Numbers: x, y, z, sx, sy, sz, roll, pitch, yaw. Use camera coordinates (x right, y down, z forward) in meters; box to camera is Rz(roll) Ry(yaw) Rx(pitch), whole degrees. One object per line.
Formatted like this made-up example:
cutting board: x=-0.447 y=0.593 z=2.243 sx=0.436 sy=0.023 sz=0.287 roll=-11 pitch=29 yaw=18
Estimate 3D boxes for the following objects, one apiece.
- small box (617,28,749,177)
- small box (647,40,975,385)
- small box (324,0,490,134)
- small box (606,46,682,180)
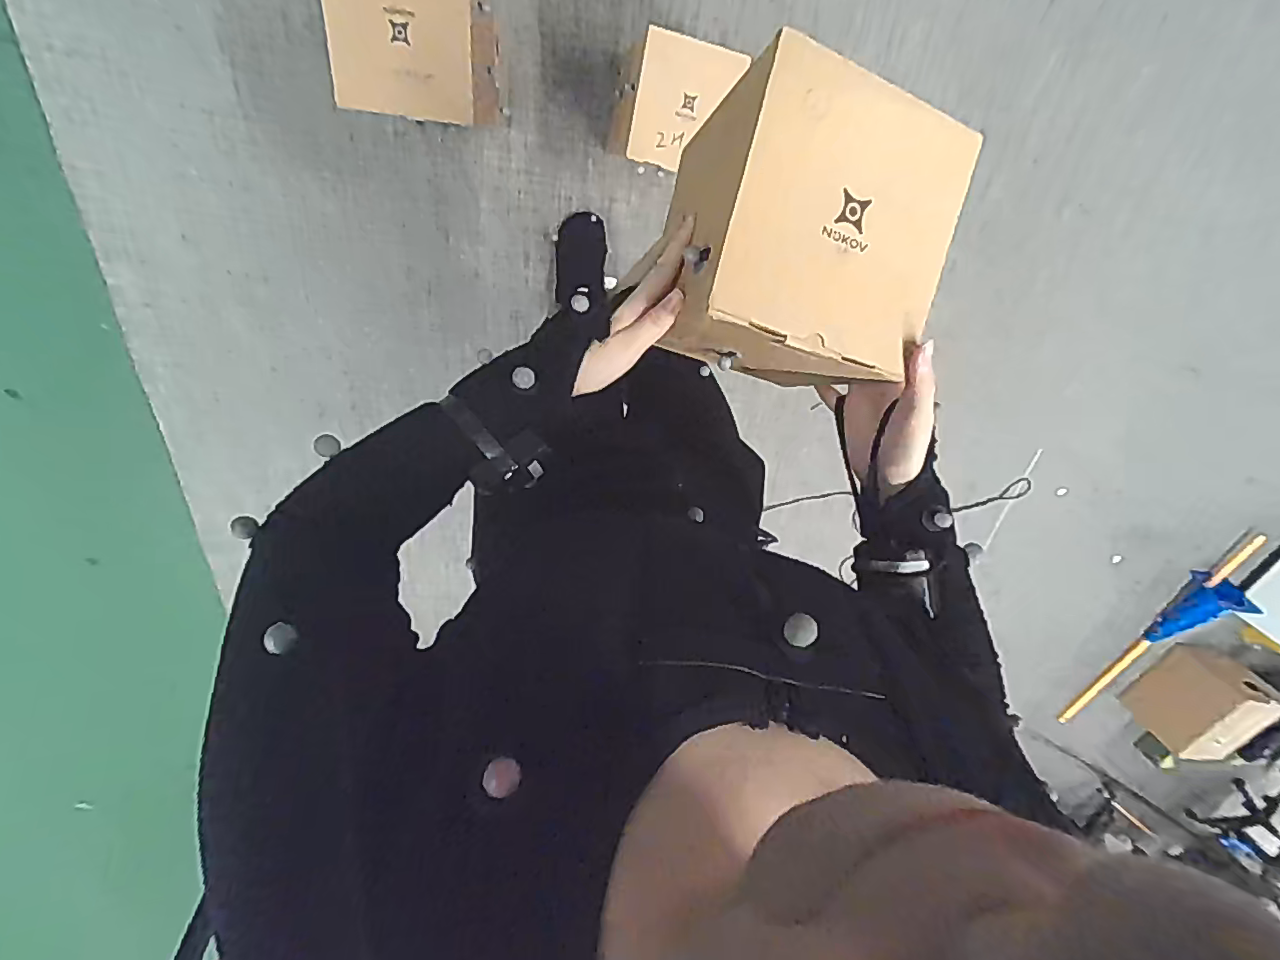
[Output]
small box: x=0.061 y=-0.622 z=0.918 sx=0.168 sy=0.176 sz=0.179 roll=7 pitch=121 yaw=-13
small box: x=0.118 y=-0.183 z=0.438 sx=0.168 sy=0.176 sz=0.179 roll=13 pitch=96 yaw=-18
small box: x=-0.289 y=-0.562 z=0.699 sx=0.168 sy=0.176 sz=0.179 roll=2 pitch=122 yaw=-9
small box: x=0.033 y=-0.706 z=1.057 sx=0.168 sy=0.176 sz=0.179 roll=8 pitch=121 yaw=-15
